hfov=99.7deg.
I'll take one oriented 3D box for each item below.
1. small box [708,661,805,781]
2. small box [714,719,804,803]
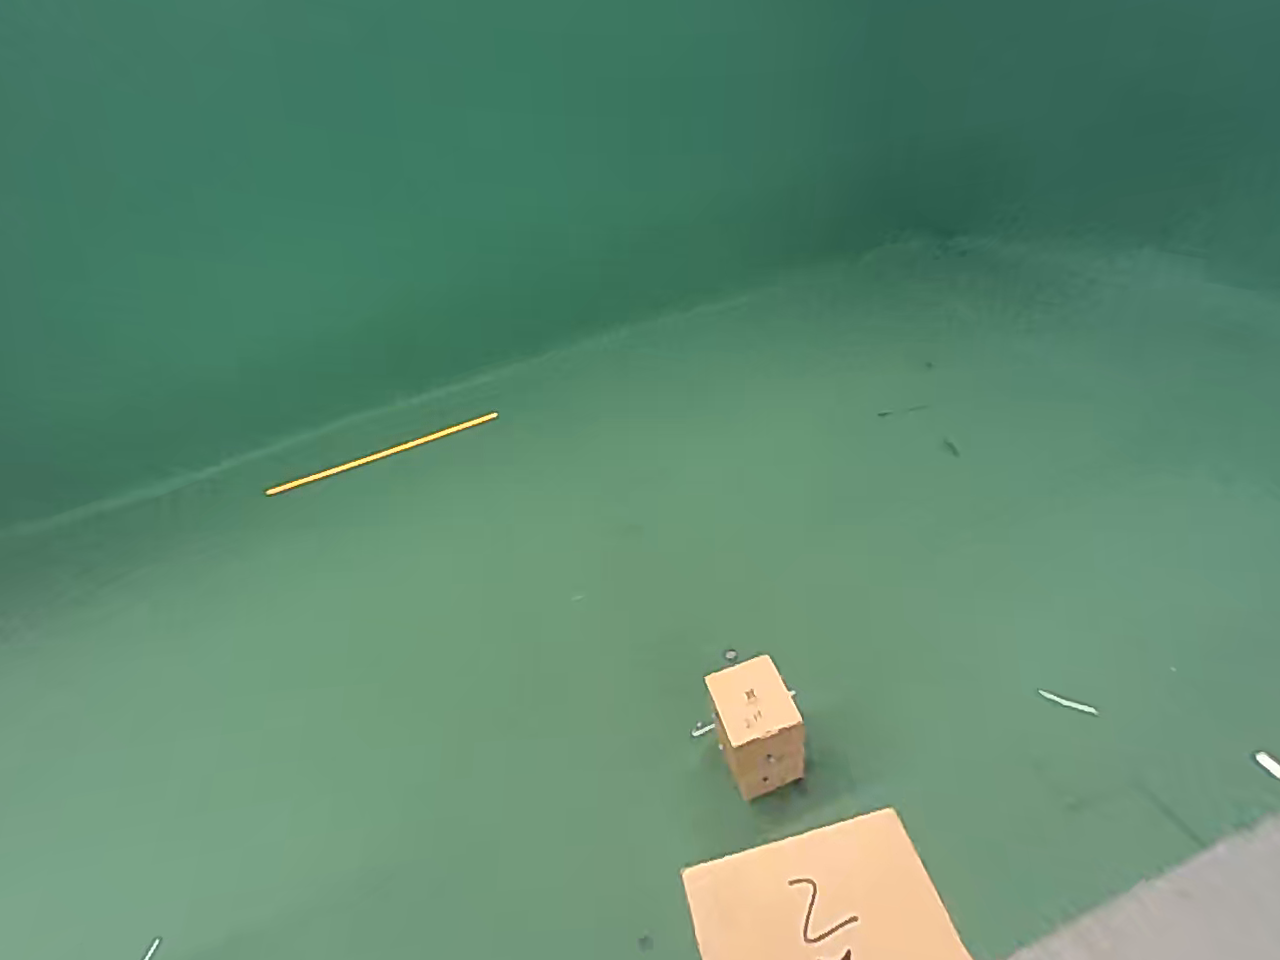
[{"bbox_3d":[0.269,0.565,1.266,0.168,0.176,0.179,-18,40,-4],"label":"small box"},{"bbox_3d":[0.303,0.687,1.372,0.168,0.176,0.179,-20,40,-6],"label":"small box"}]
